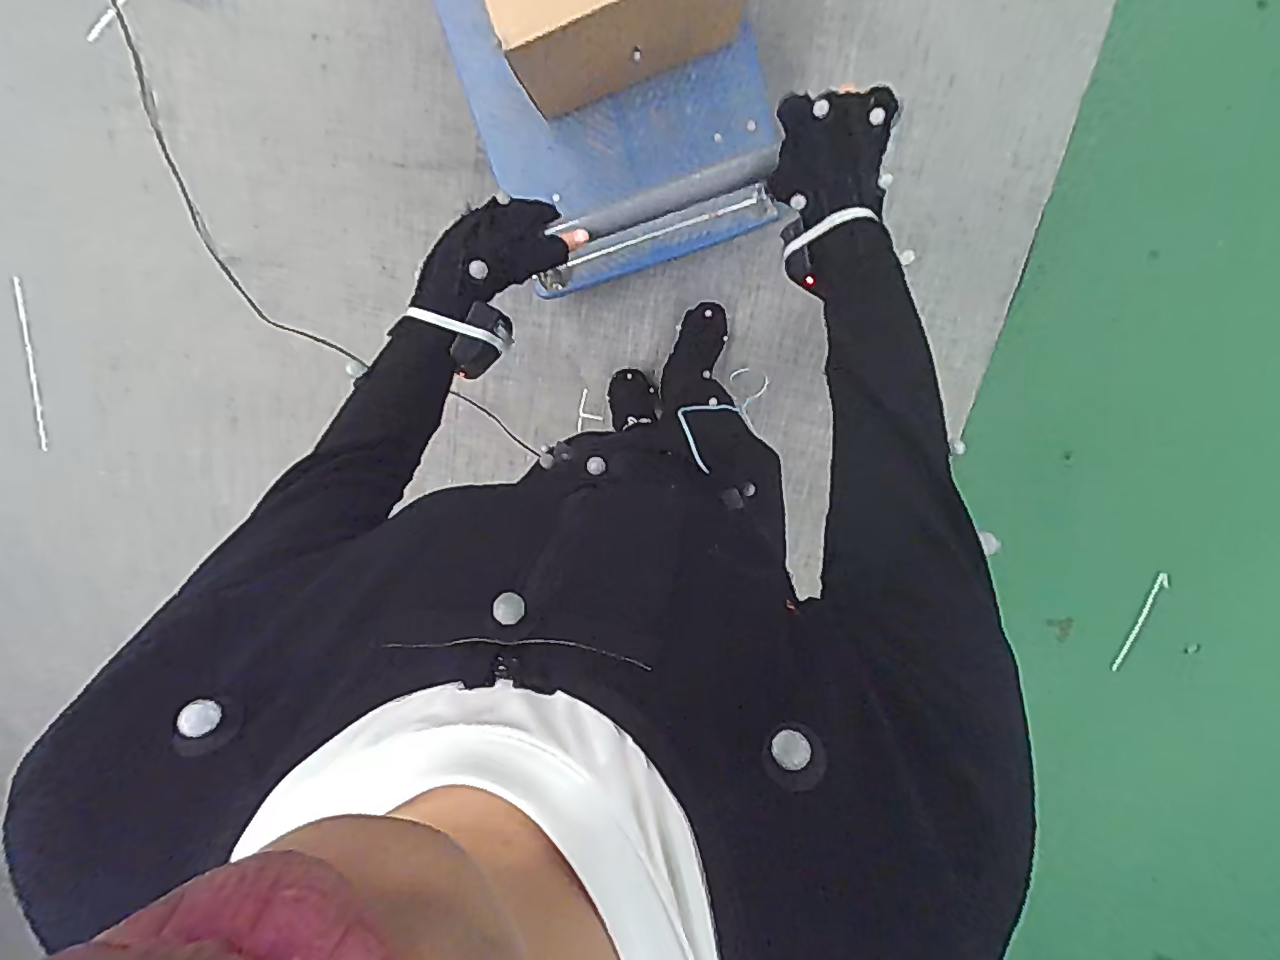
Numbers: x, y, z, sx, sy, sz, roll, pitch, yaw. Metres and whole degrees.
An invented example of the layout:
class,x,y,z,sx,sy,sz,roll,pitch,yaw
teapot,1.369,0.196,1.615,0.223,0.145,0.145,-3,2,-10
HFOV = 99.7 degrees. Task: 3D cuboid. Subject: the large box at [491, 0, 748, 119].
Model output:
class,x,y,z,sx,sy,sz,roll,pitch,yaw
large box,-0.050,-0.892,0.905,0.408,0.320,0.320,-17,104,10
